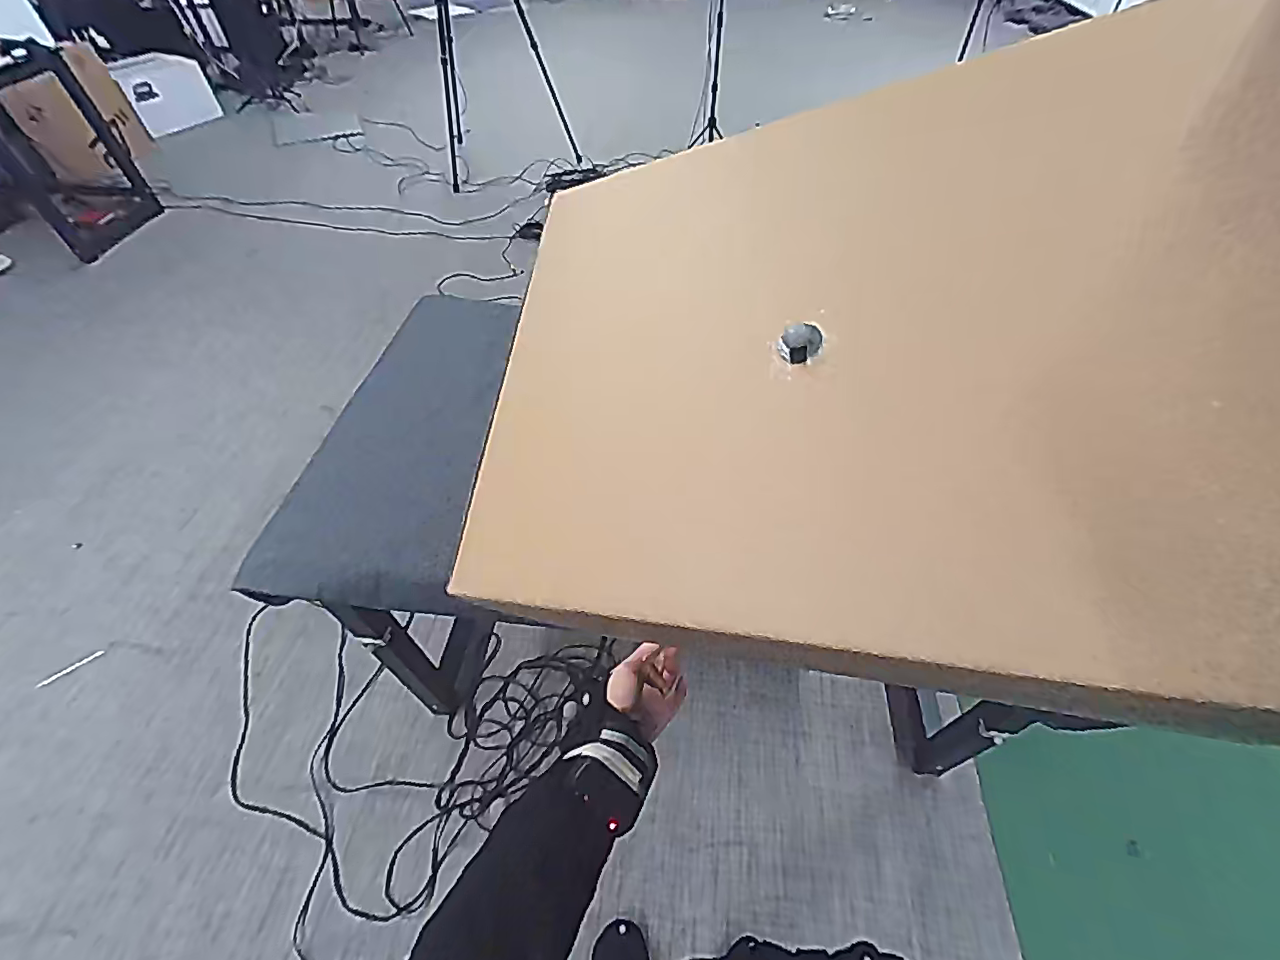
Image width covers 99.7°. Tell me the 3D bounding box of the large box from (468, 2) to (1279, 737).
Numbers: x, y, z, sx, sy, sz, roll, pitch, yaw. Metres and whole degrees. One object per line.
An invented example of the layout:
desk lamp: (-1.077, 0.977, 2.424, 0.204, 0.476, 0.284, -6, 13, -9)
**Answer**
large box: (0.152, -0.016, 0.404, 0.408, 0.320, 0.320, -2, 70, 27)
